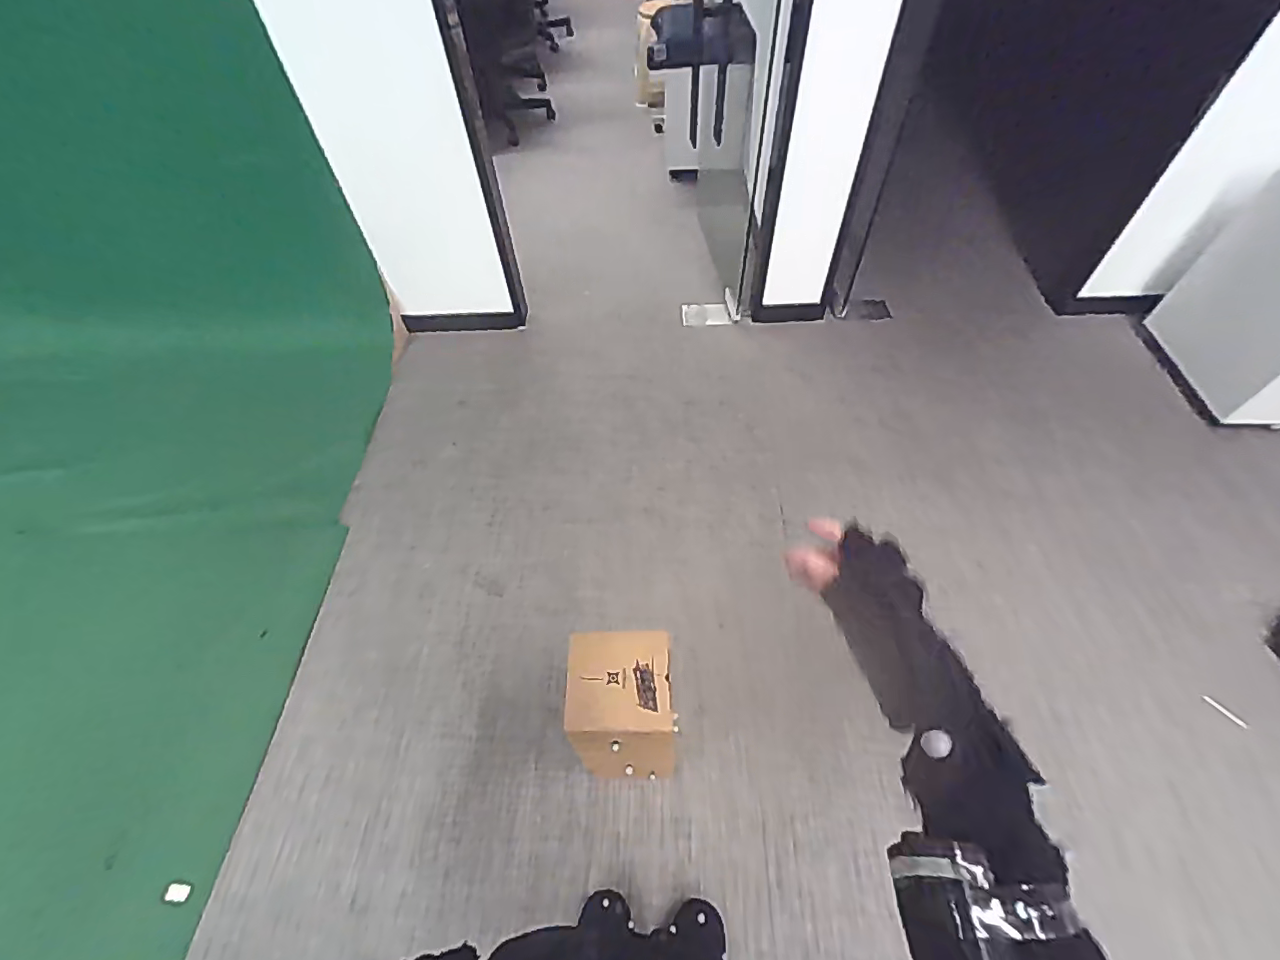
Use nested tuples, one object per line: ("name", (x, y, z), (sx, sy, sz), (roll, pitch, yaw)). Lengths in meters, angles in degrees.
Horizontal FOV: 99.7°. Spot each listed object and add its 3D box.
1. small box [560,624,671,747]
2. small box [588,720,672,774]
("small box", (-0.035, 0.373, 0.972), (0.179, 0.176, 0.168), (1, 52, 3))
("small box", (-0.018, 0.568, 1.239), (0.179, 0.176, 0.168), (-3, 53, 3))
